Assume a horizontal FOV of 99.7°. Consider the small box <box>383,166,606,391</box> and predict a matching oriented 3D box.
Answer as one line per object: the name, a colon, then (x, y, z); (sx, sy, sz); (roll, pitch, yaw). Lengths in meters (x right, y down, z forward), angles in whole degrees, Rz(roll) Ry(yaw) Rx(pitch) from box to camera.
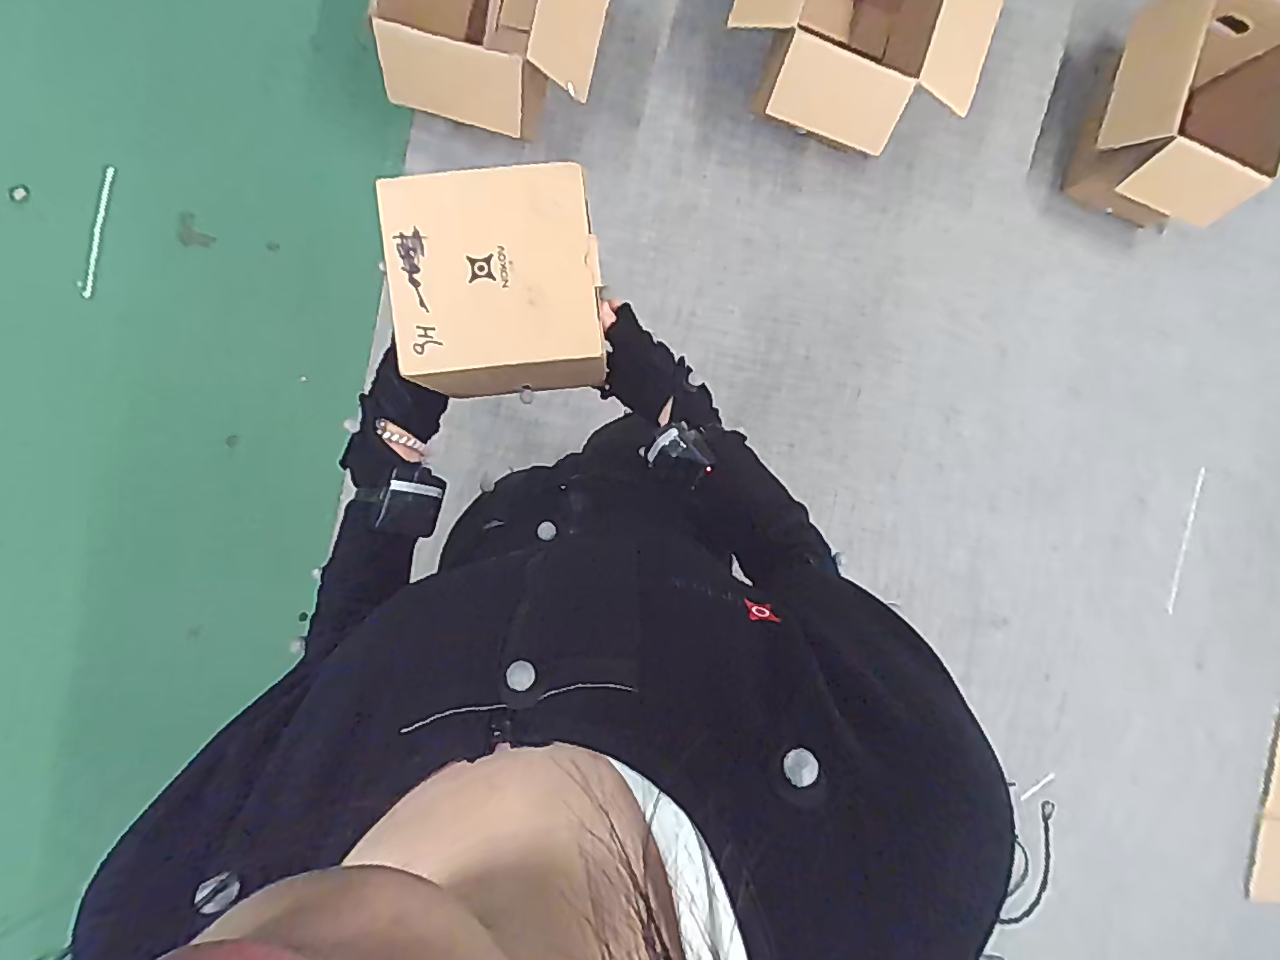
small box: (-0.130, -0.185, 0.541); (0.179, 0.176, 0.168); (-5, 92, -4)
